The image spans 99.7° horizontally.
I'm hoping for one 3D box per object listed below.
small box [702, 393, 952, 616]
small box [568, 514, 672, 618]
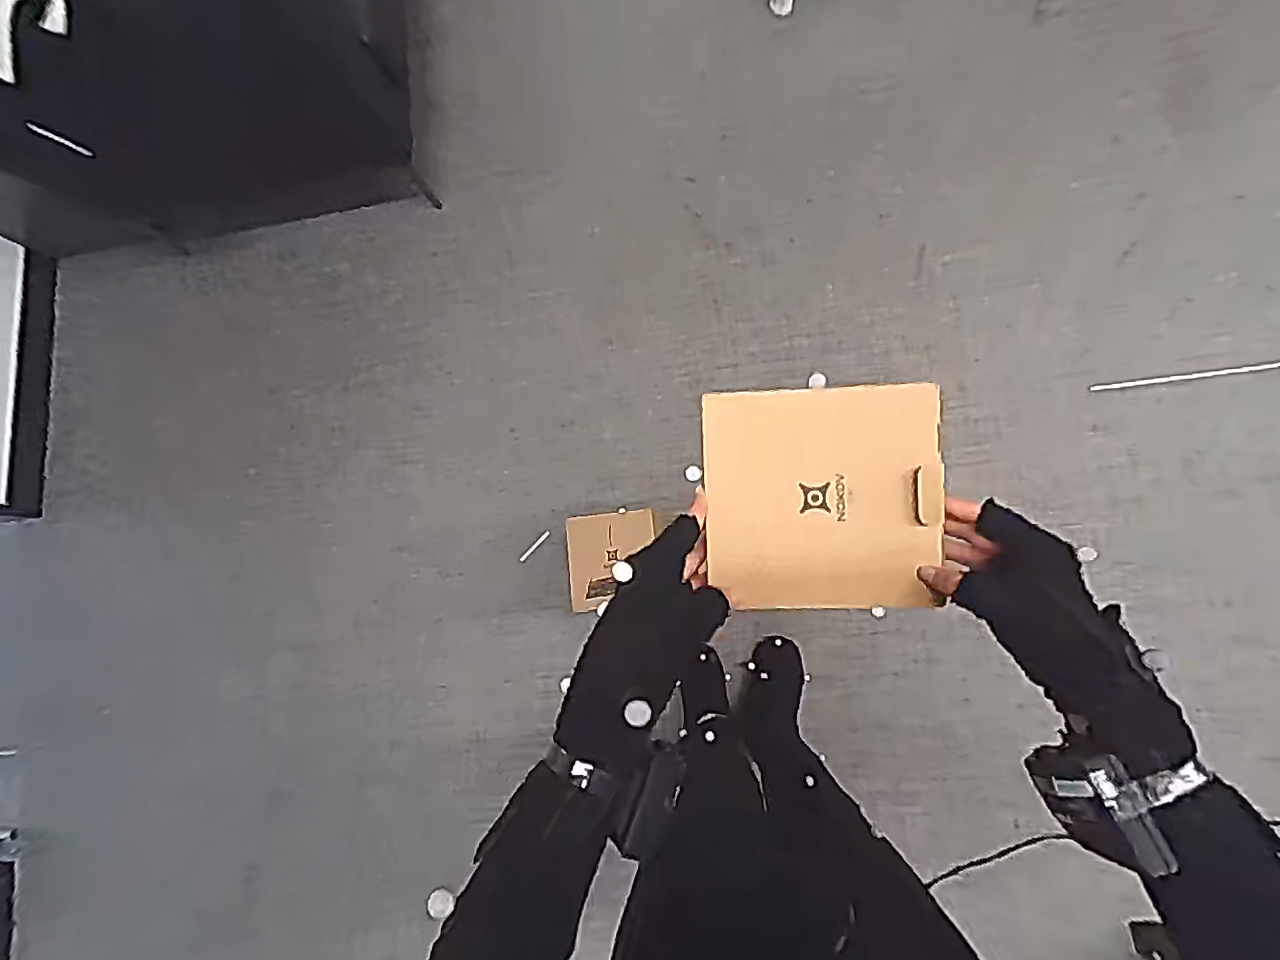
[{"bbox_3d":[0.147,0.021,0.484,0.179,0.176,0.168,-3,90,6],"label":"small box"},{"bbox_3d":[-0.032,0.165,1.054,0.168,0.176,0.179,-7,80,8],"label":"small box"}]
